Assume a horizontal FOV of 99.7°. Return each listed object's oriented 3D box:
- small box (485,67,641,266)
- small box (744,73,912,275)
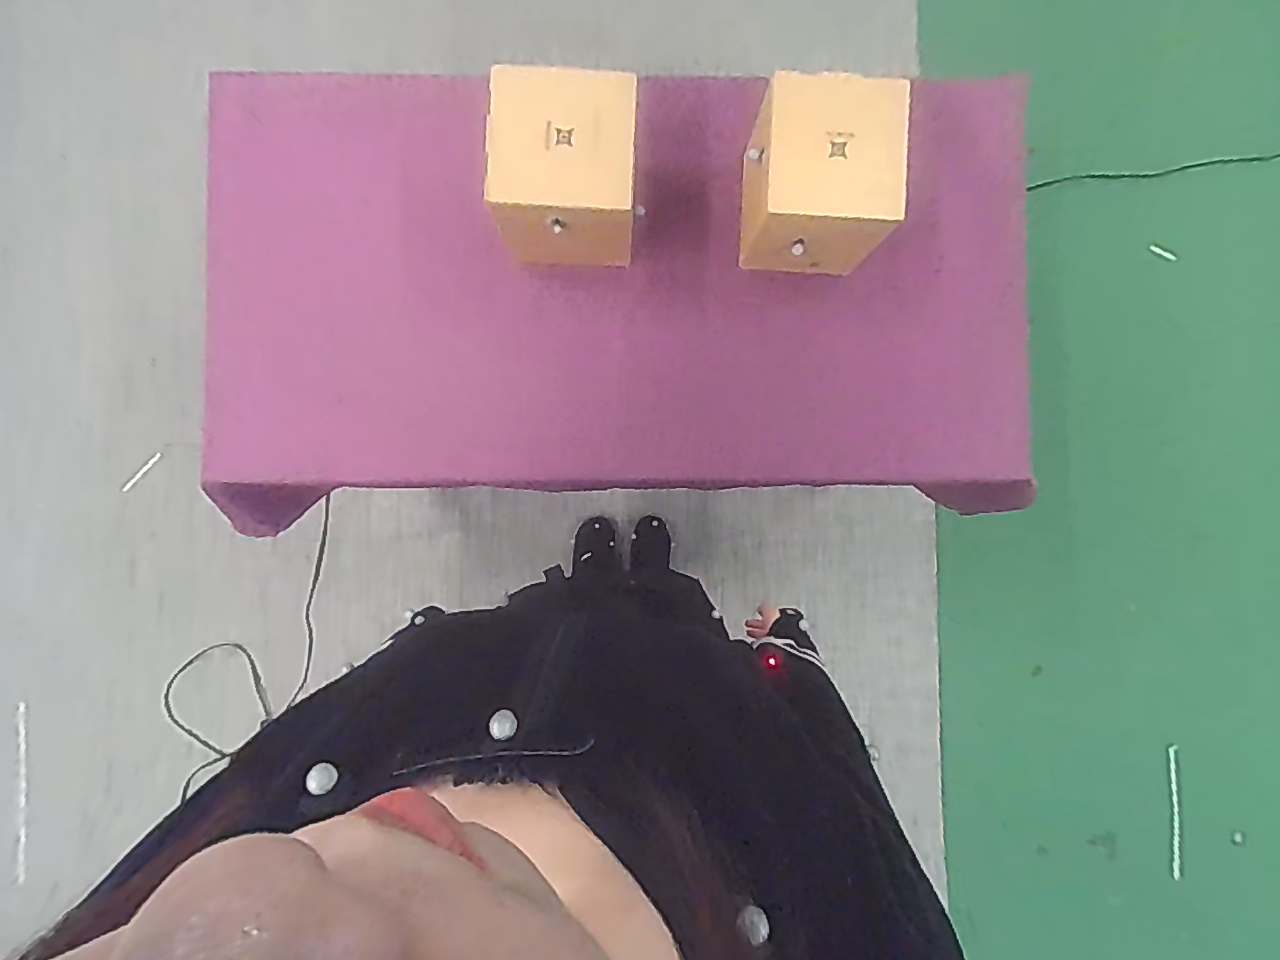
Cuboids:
[{"bbox_3d":[-0.092,-0.400,0.718,0.179,0.176,0.168,3,89,-1],"label":"small box"},{"bbox_3d":[0.236,-0.391,0.720,0.168,0.176,0.179,3,88,0],"label":"small box"}]
